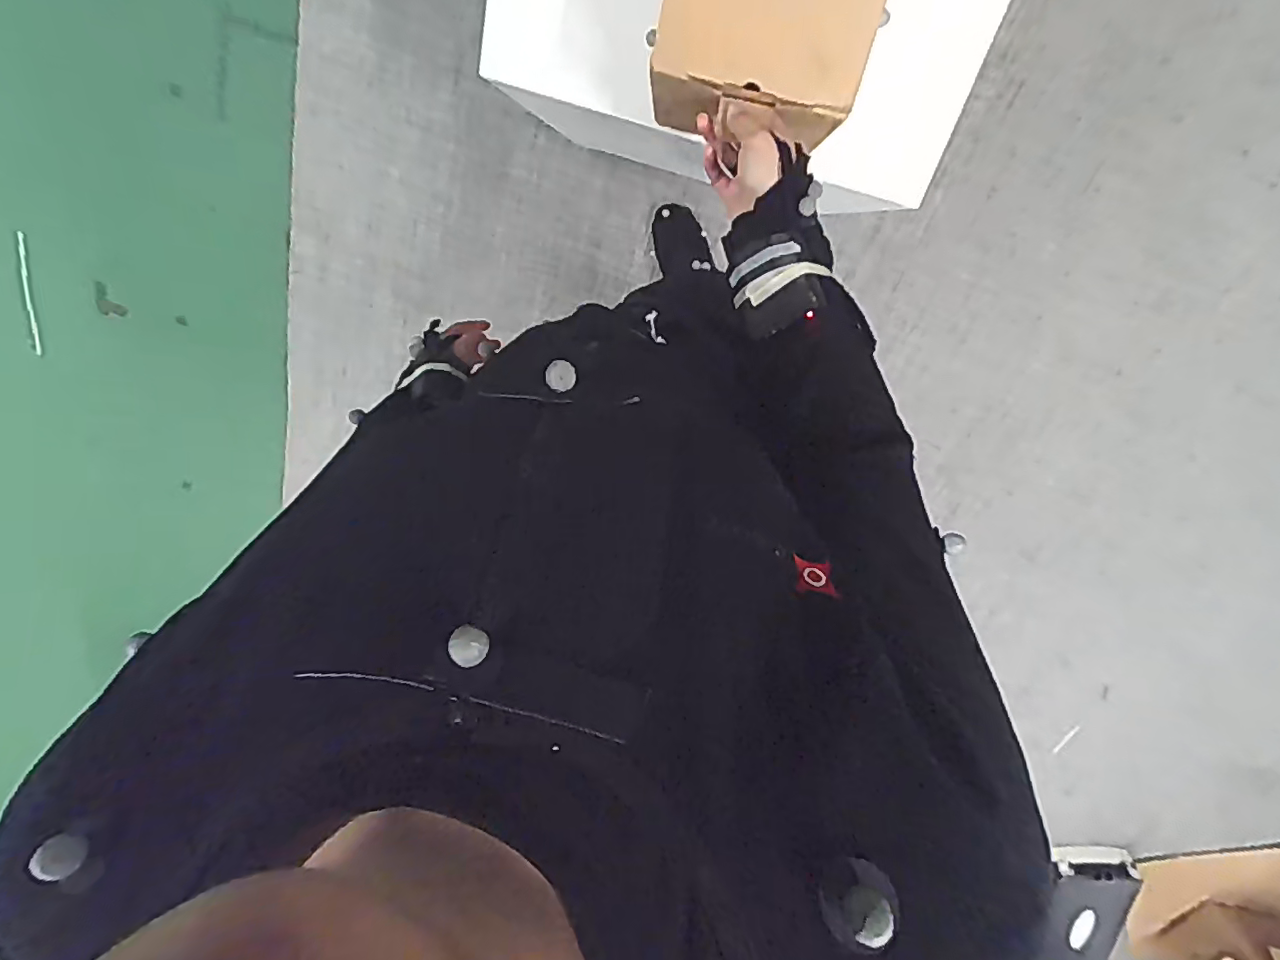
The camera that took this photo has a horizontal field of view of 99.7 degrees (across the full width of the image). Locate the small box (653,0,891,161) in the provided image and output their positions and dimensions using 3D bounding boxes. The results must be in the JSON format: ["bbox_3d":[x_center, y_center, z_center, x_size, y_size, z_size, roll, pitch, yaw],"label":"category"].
[{"bbox_3d":[0.115,-0.406,0.475,0.168,0.176,0.179,14,110,-2],"label":"small box"}]
